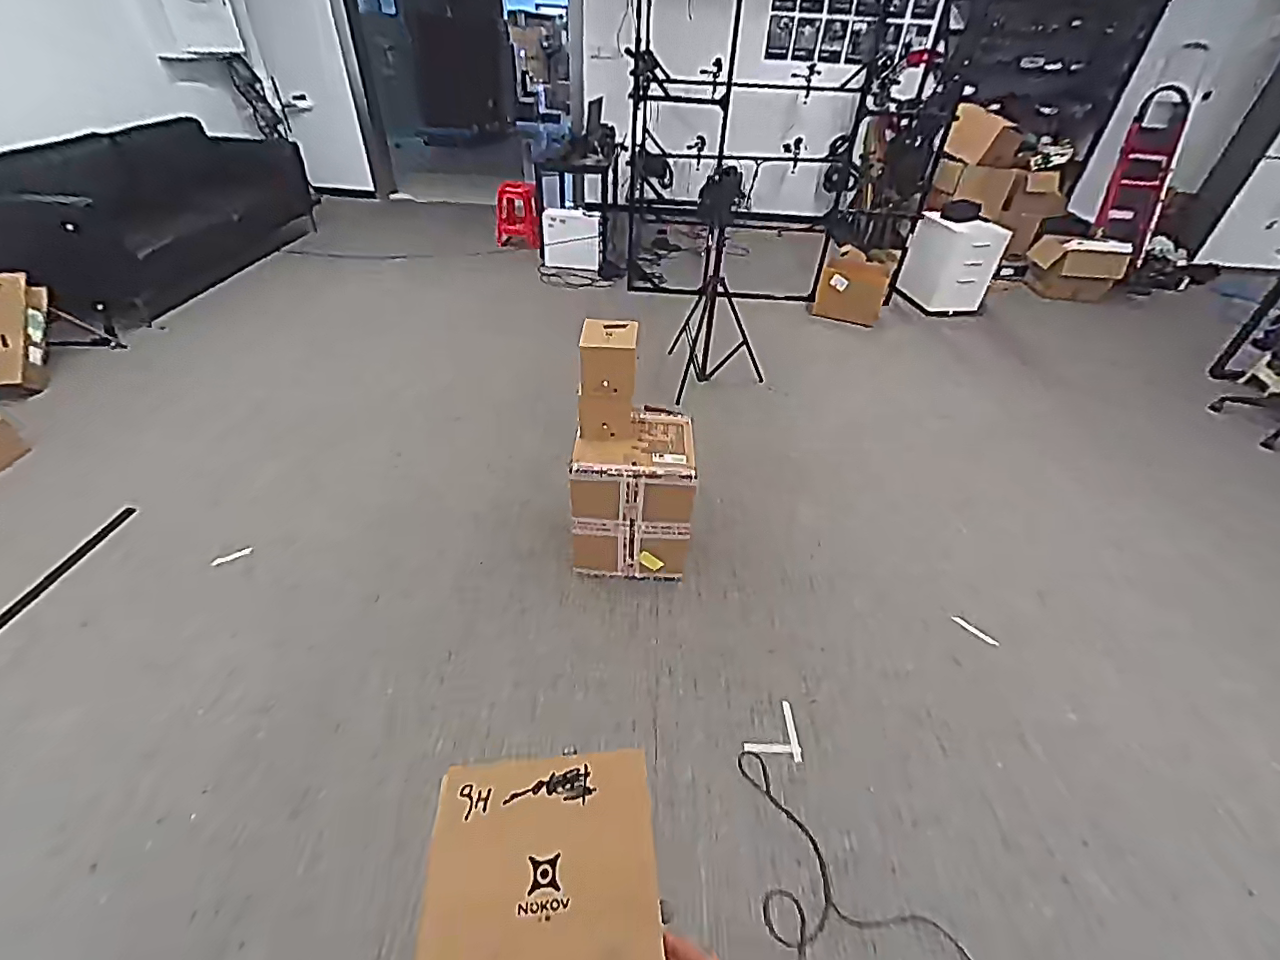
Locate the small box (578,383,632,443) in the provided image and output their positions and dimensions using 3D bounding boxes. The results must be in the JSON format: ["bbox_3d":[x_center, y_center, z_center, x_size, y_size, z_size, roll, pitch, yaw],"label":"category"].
[{"bbox_3d":[-0.111,-0.239,1.770,0.168,0.176,0.179,-1,41,-1],"label":"small box"}]

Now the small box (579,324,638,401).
[{"bbox_3d":[-0.093,-0.361,1.660,0.168,0.176,0.179,2,42,1],"label":"small box"}]

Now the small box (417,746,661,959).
[{"bbox_3d":[-0.070,0.342,0.446,0.168,0.176,0.179,-4,48,-4],"label":"small box"}]
